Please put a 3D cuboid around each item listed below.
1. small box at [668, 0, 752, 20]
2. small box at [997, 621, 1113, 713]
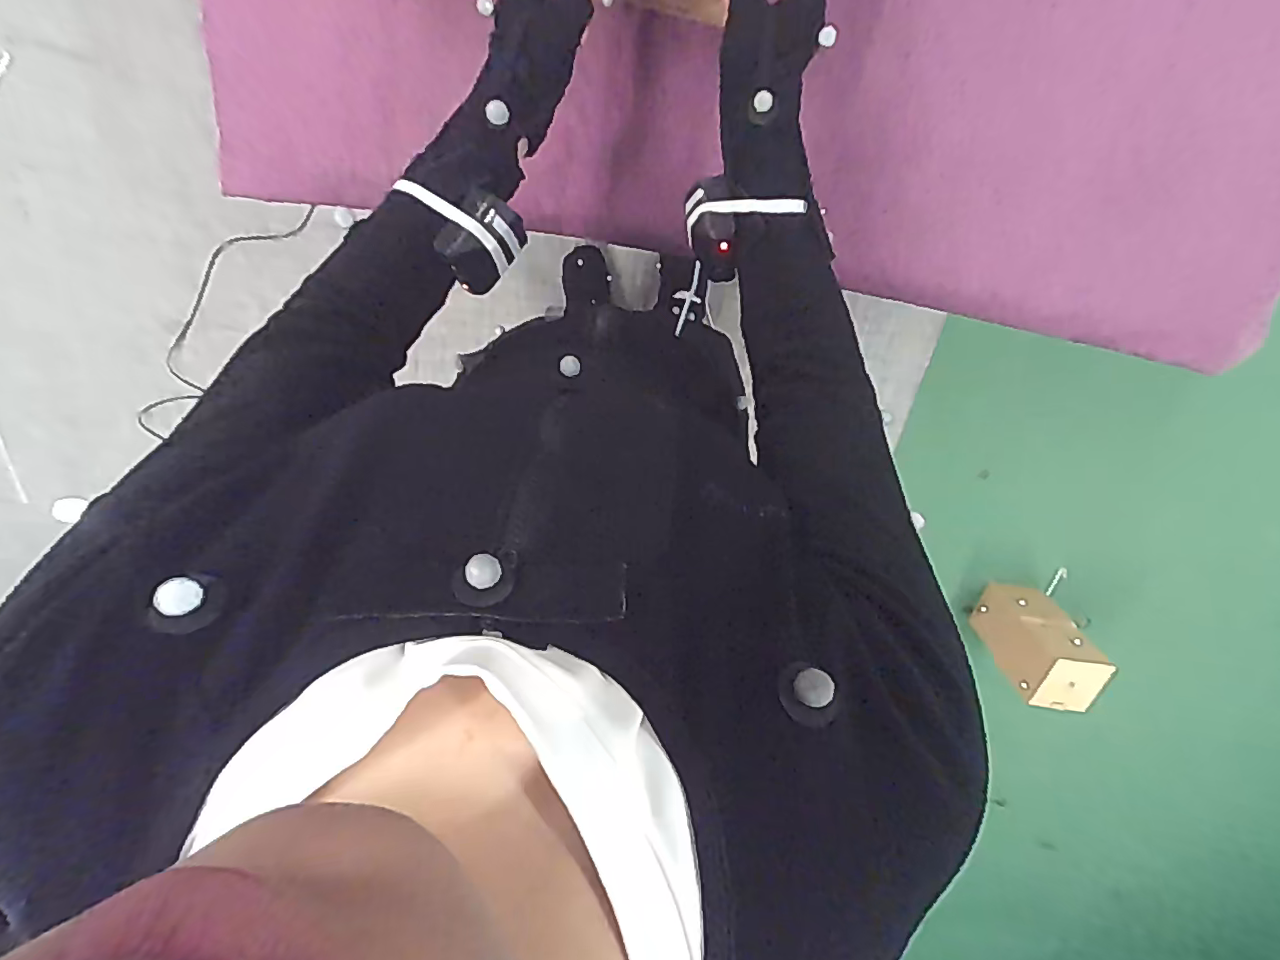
[{"bbox_3d":[0.039,-0.505,0.422,0.168,0.176,0.179,11,115,-4],"label":"small box"},{"bbox_3d":[1.163,0.525,1.535,0.168,0.176,0.179,8,117,-3],"label":"small box"}]
